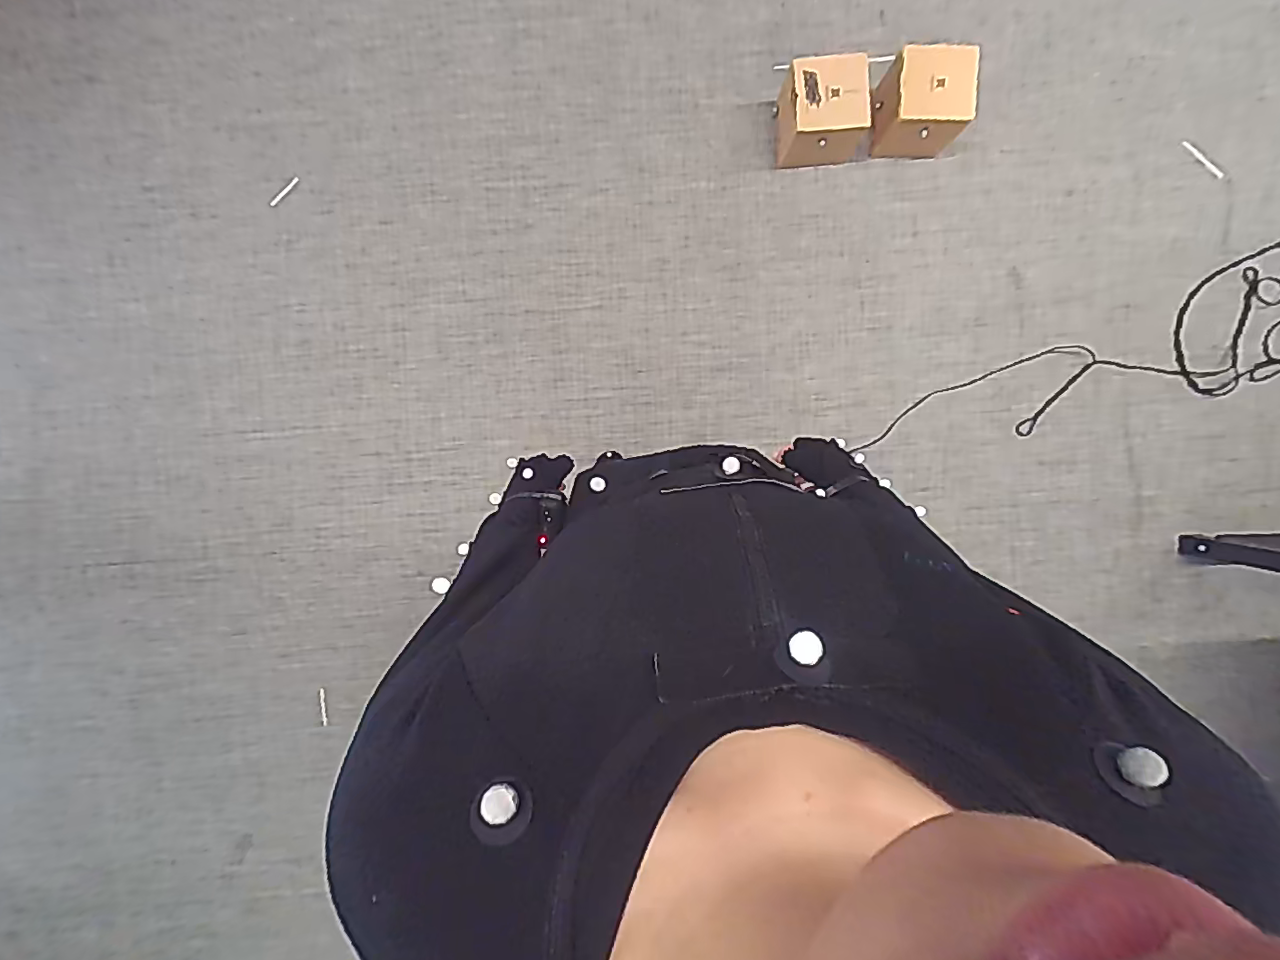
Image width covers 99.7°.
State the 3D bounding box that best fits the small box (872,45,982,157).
[{"bbox_3d":[0.693,-0.915,1.319,0.179,0.176,0.168,1,94,2],"label":"small box"}]

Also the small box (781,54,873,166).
[{"bbox_3d":[0.448,-0.896,1.325,0.179,0.176,0.168,-4,94,1],"label":"small box"}]
